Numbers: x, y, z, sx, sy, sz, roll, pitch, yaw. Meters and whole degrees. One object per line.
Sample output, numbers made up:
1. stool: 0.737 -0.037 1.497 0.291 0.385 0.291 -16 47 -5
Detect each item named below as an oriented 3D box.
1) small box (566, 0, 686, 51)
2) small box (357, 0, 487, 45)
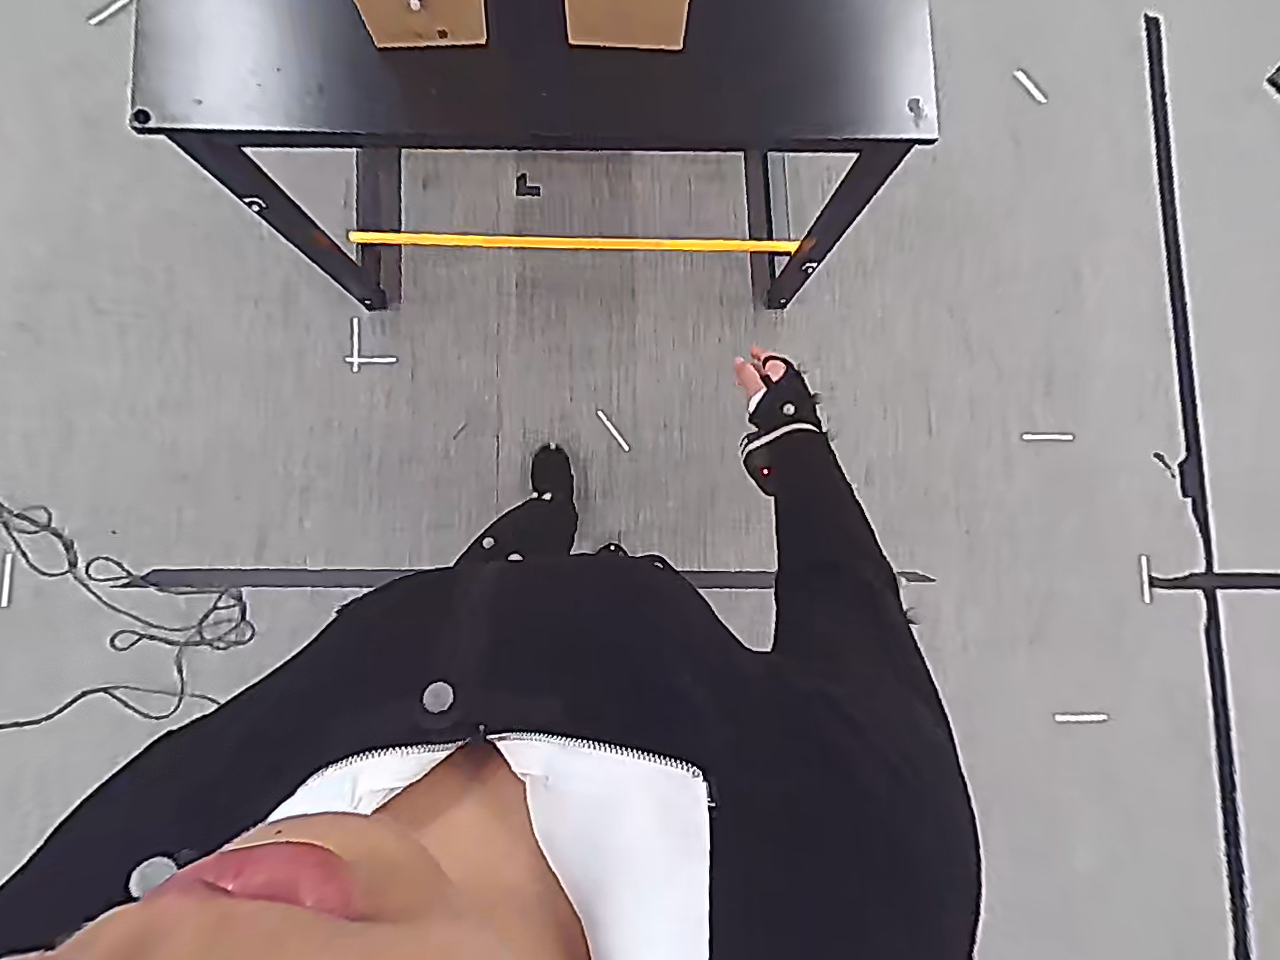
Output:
1. small box: -0.018 -0.753 0.763 0.179 0.176 0.168 1 85 -3
2. small box: -0.317 -0.747 0.750 0.168 0.176 0.179 -5 86 -3
